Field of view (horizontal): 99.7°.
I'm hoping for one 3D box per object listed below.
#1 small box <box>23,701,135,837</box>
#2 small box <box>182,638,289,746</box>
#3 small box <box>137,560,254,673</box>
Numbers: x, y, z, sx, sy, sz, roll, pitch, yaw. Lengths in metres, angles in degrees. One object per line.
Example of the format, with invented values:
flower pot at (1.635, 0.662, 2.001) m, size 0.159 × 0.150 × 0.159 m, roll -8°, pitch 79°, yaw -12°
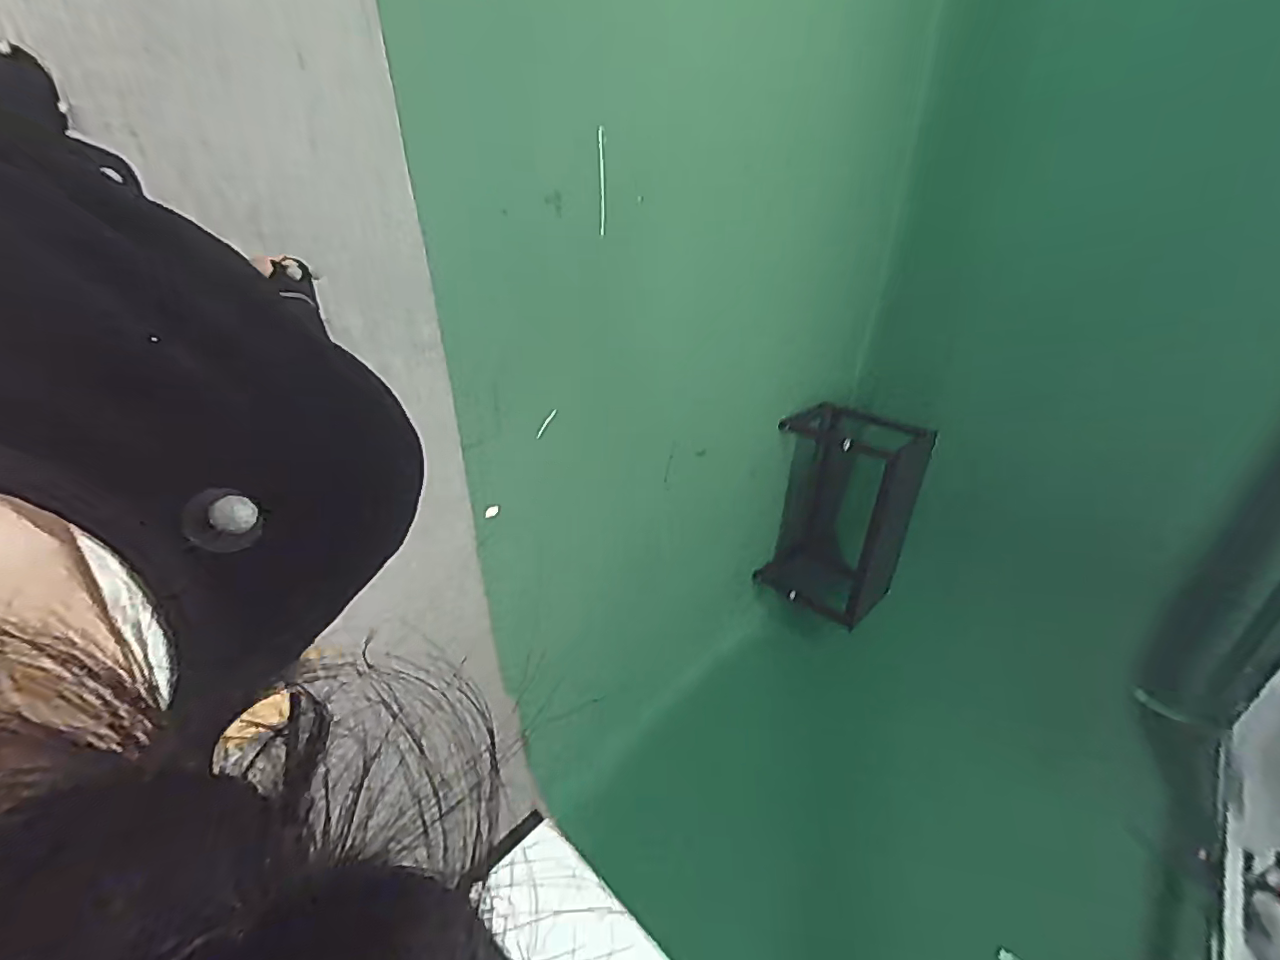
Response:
small box at (-1.260, 0.638, 1.216) m, size 0.168 × 0.176 × 0.179 m, roll -4°, pitch 114°, yaw -49°
small box at (-1.056, 0.539, 1.410) m, size 0.168 × 0.176 × 0.179 m, roll -25°, pitch 129°, yaw -39°
small box at (-1.050, 0.309, 1.279) m, size 0.168 × 0.176 × 0.179 m, roll -20°, pitch 126°, yaw -42°
